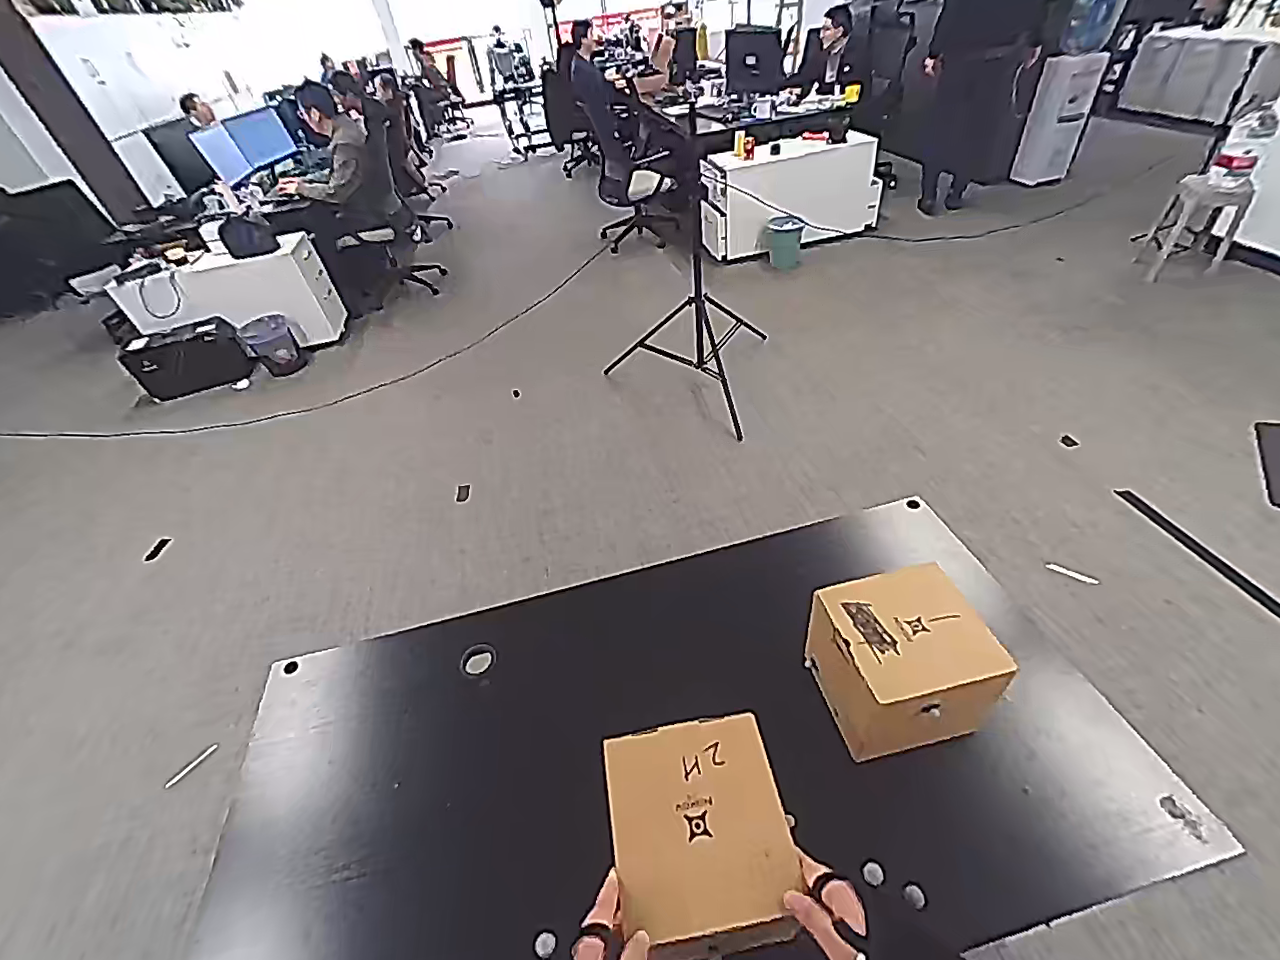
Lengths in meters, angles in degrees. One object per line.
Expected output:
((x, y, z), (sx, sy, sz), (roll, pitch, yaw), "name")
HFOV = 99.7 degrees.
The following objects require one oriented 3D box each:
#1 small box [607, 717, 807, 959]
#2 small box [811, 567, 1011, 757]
((0.063, 0.387, 0.580), (0.168, 0.176, 0.179), (-9, 43, -4), "small box")
((0.345, 0.248, 0.734), (0.179, 0.176, 0.168), (-12, 42, -4), "small box")
